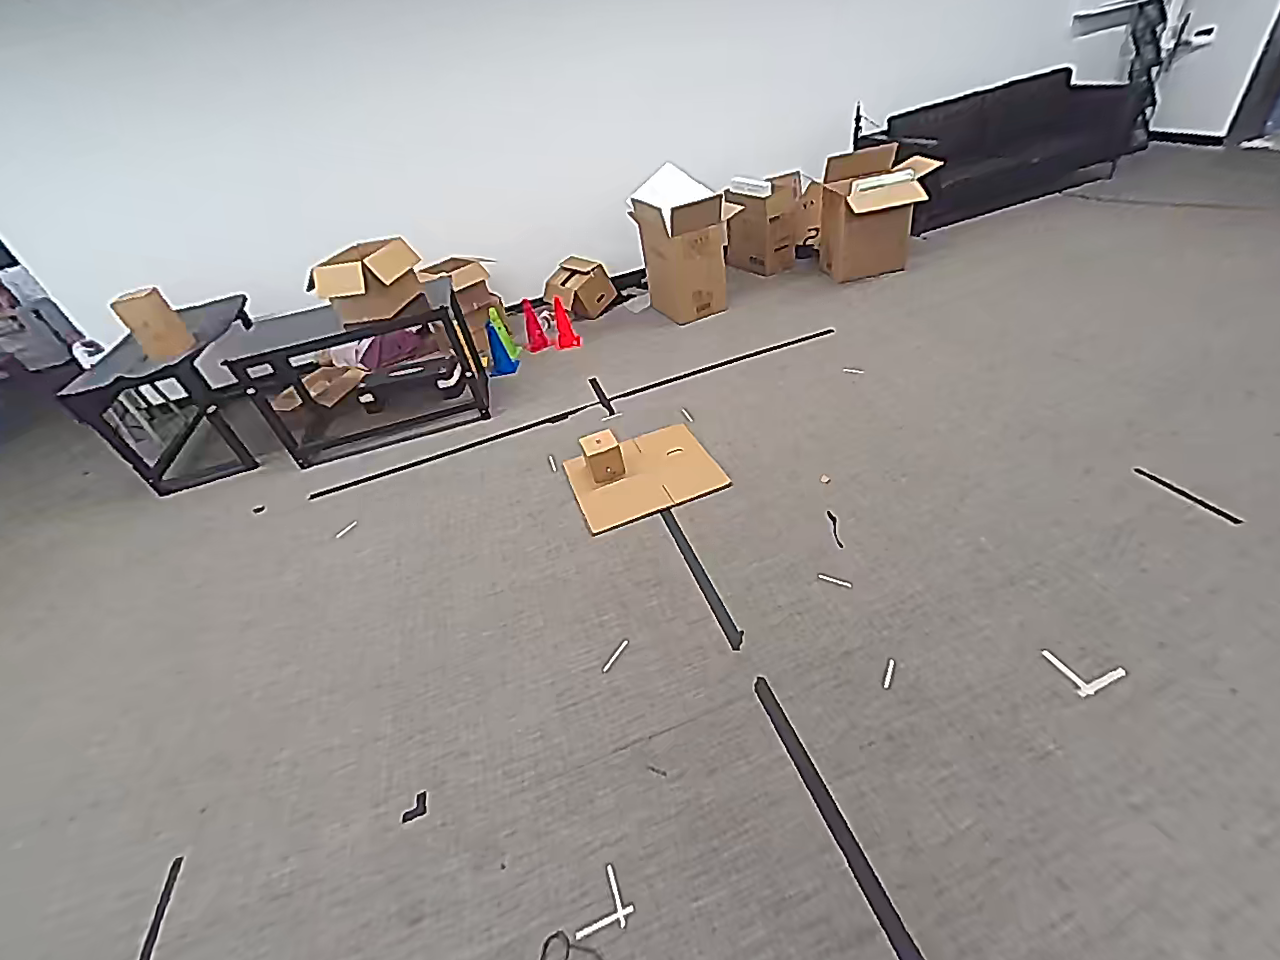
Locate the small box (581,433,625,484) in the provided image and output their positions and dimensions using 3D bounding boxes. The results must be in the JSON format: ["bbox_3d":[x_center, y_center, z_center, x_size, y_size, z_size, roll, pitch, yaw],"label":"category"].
[{"bbox_3d":[-0.186,-0.106,2.718,0.168,0.176,0.179,-21,39,-9],"label":"small box"}]
